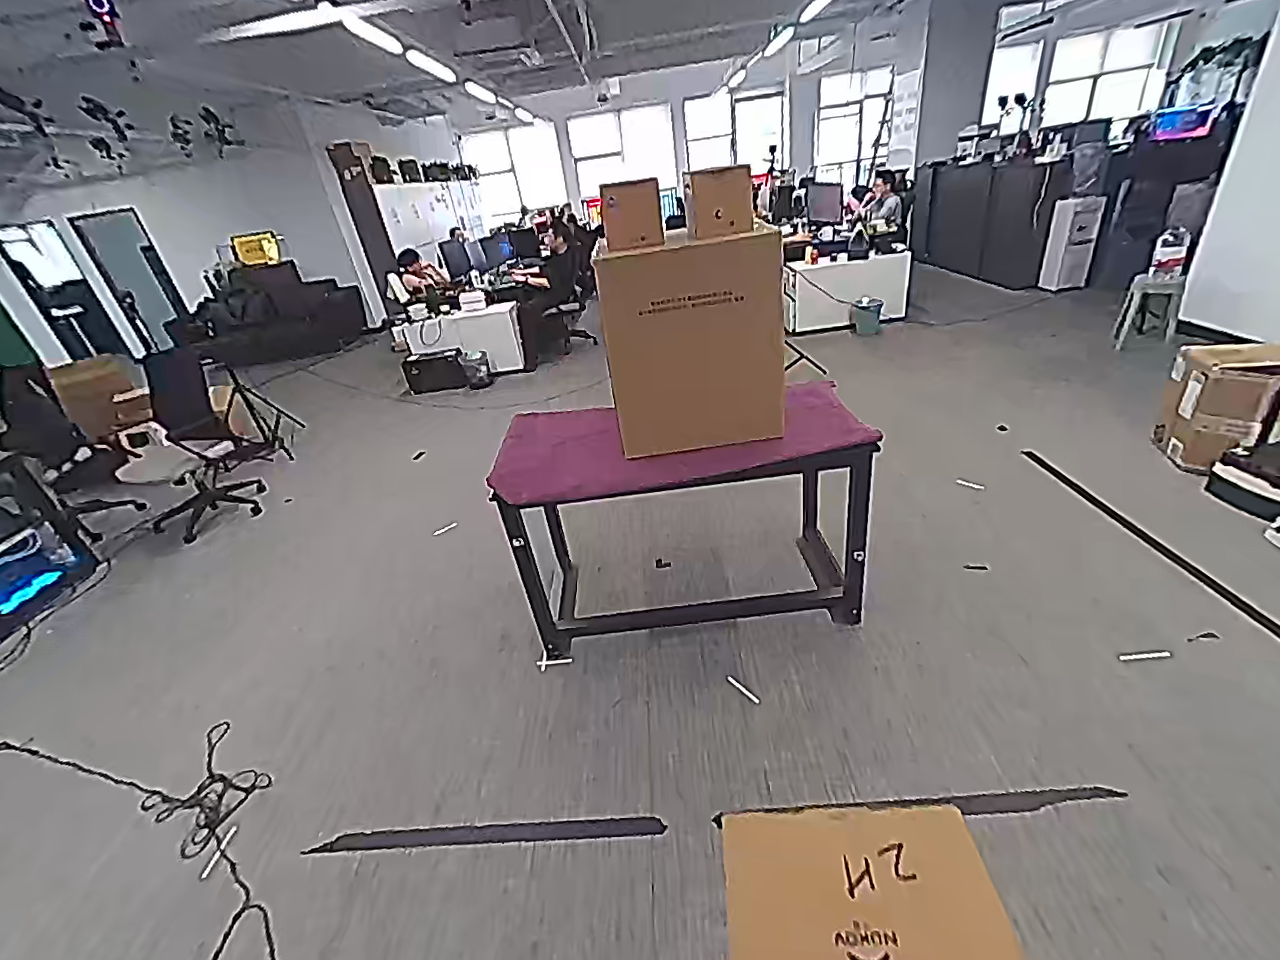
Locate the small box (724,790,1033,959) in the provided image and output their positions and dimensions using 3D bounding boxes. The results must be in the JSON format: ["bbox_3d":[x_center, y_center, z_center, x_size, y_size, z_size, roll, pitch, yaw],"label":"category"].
[{"bbox_3d":[0.150,0.337,0.350,0.168,0.176,0.179,-7,29,8],"label":"small box"}]

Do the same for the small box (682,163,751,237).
[{"bbox_3d":[0.219,-0.805,1.558,0.168,0.176,0.179,-10,31,0],"label":"small box"}]
